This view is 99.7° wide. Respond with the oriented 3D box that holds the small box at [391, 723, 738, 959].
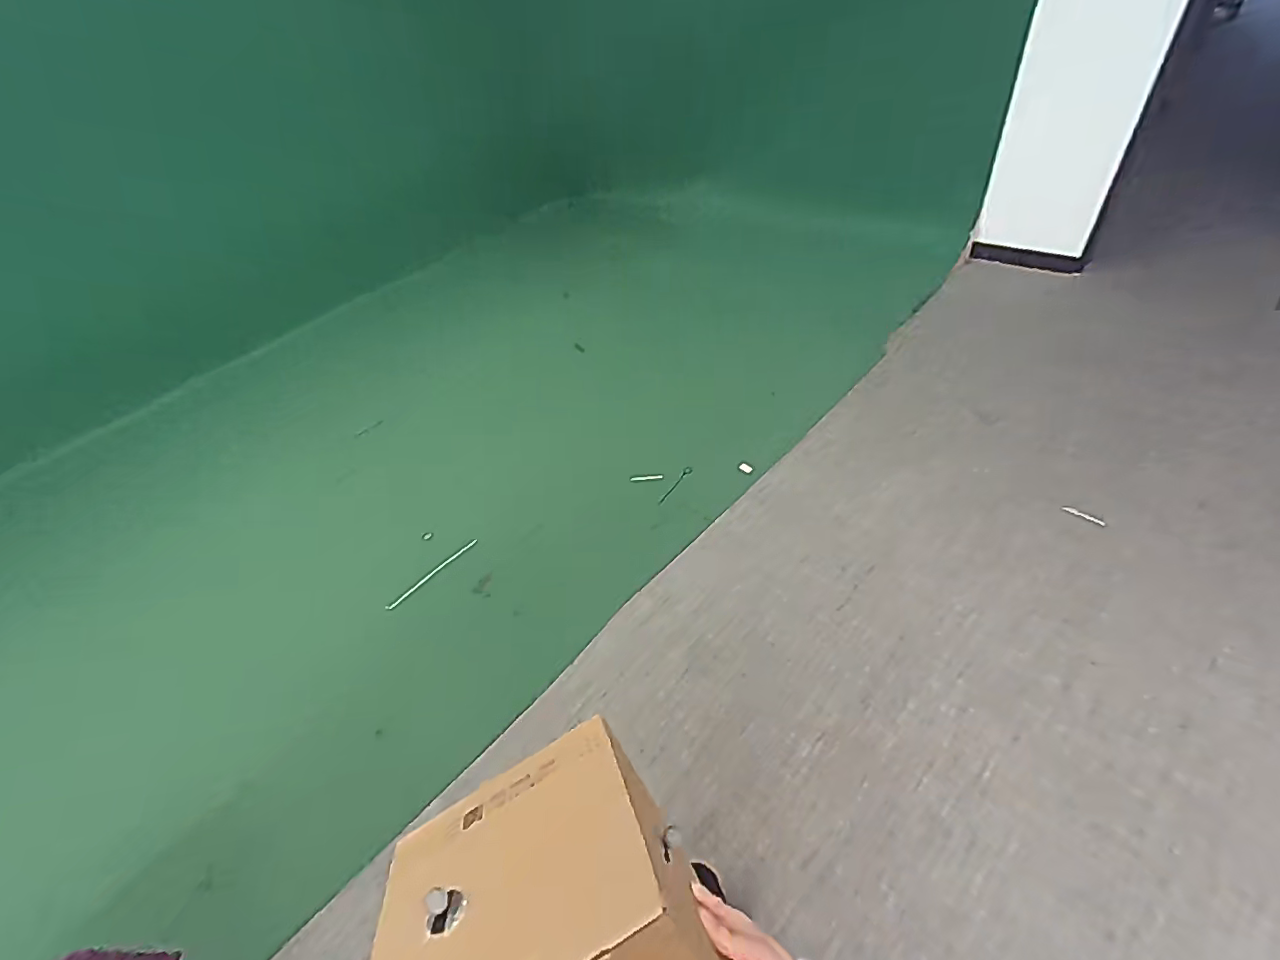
[{"bbox_3d":[-0.042,0.289,0.345,0.168,0.179,0.176,-28,14,-9],"label":"small box"}]
